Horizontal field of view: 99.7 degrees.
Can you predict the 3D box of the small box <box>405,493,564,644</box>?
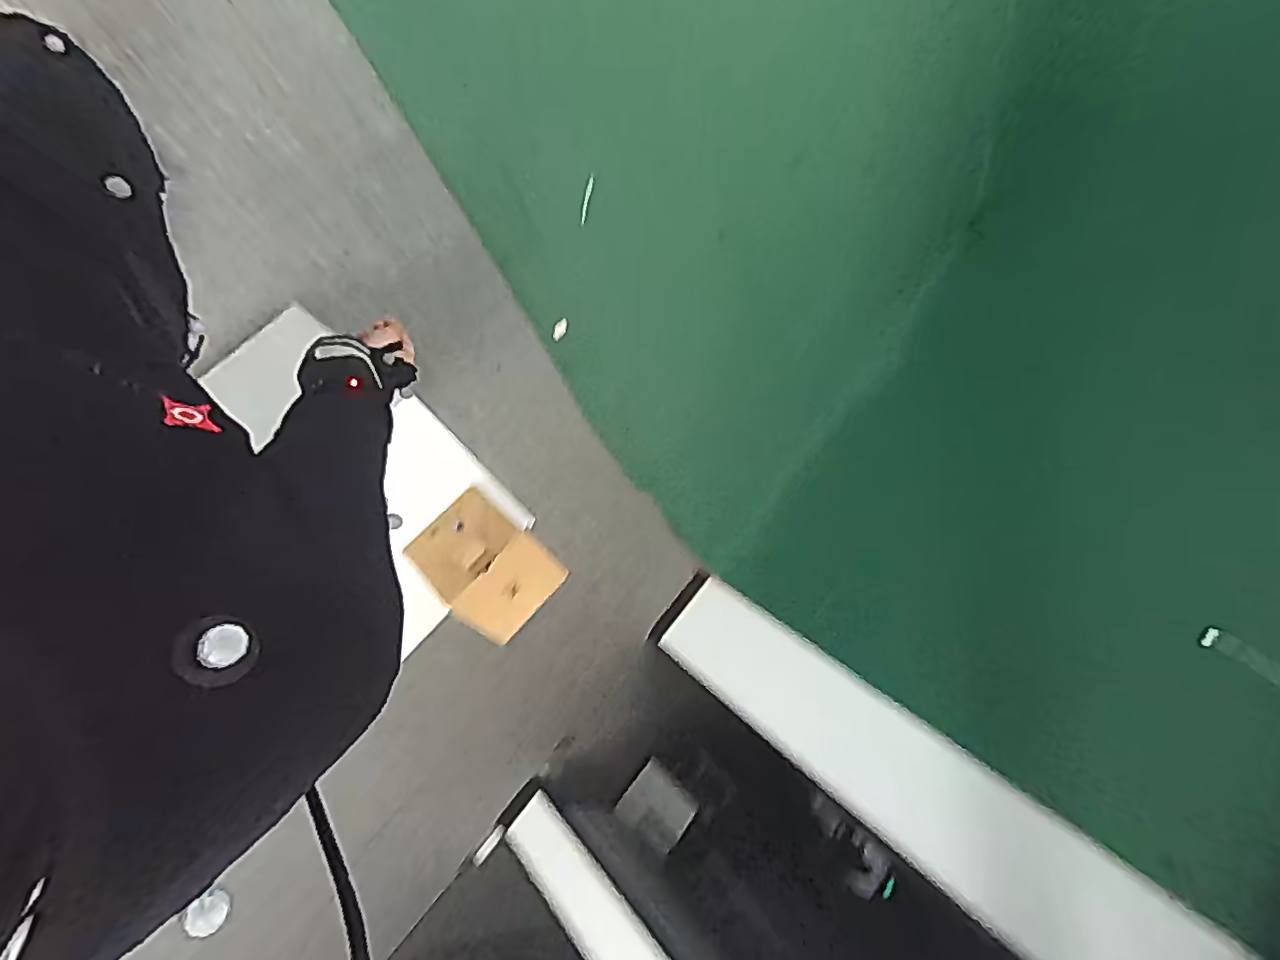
[{"bbox_3d":[-0.271,0.151,0.954,0.168,0.176,0.179,-47,142,-14],"label":"small box"}]
